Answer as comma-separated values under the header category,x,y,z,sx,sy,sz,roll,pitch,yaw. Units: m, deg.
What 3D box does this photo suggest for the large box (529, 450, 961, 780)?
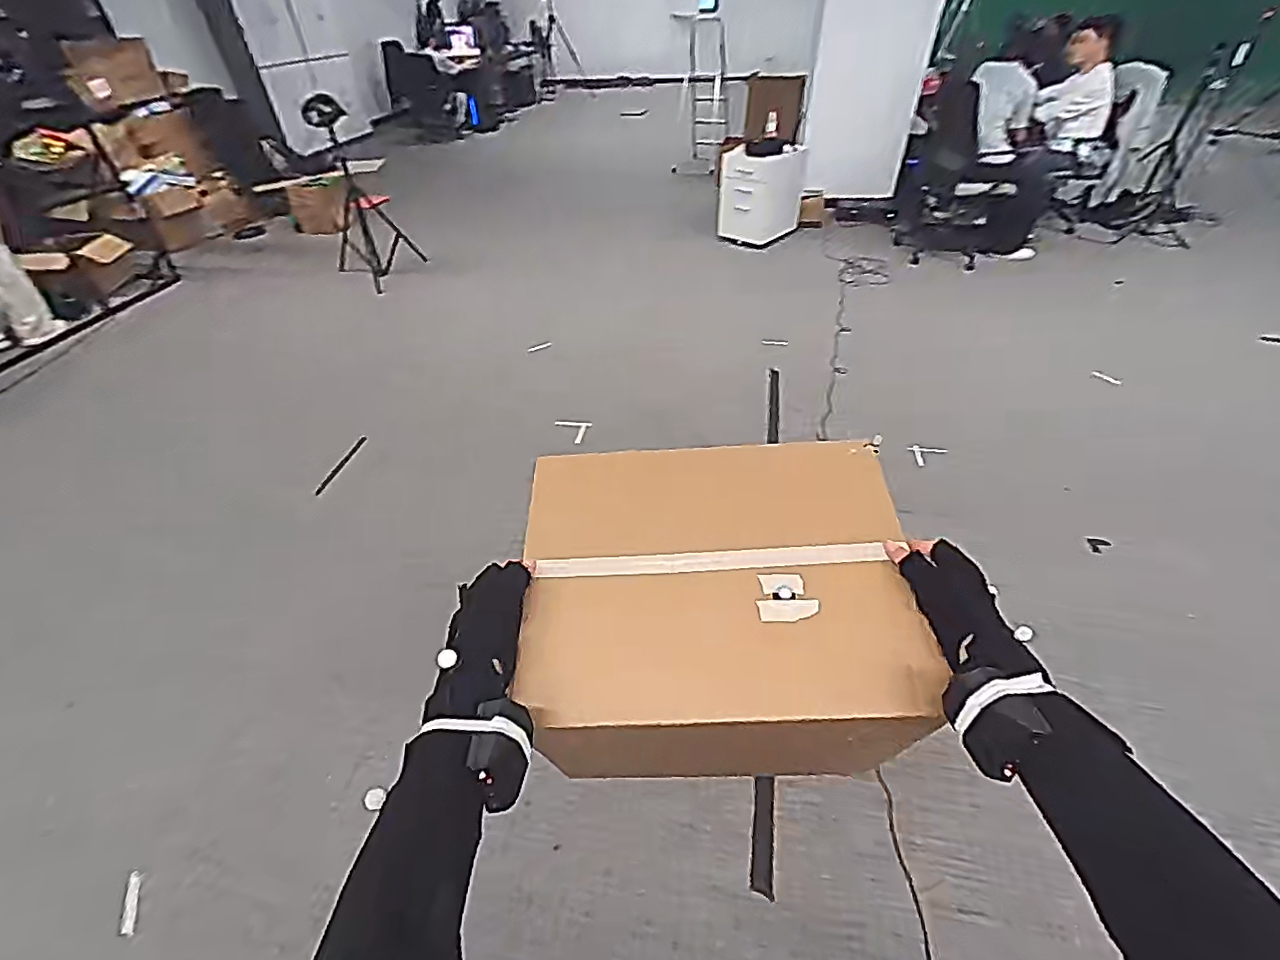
category,x,y,z,sx,sy,sz,roll,pitch,yaw
large box,0.099,0.185,0.700,0.408,0.320,0.320,-3,54,3
